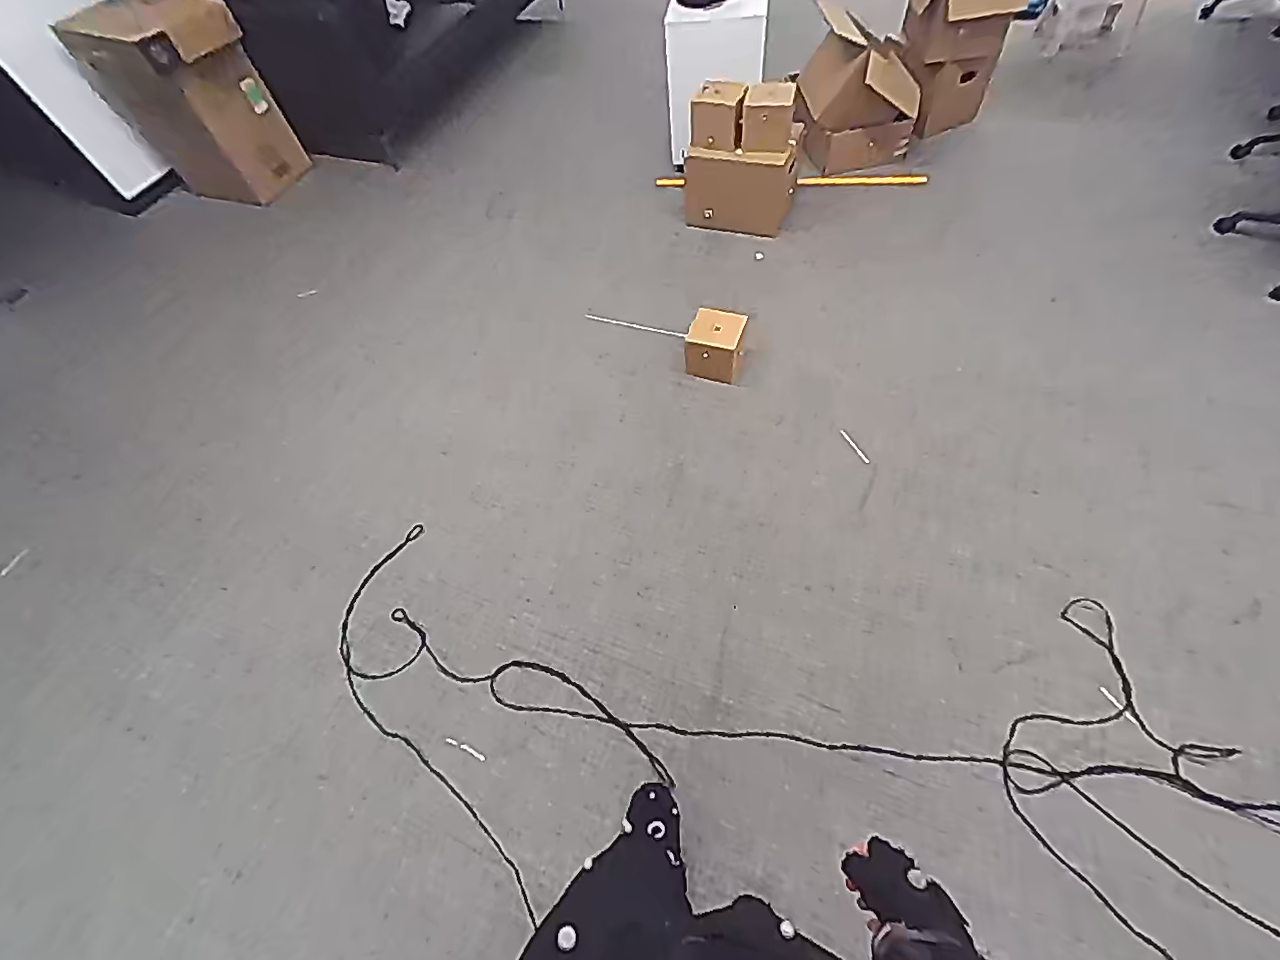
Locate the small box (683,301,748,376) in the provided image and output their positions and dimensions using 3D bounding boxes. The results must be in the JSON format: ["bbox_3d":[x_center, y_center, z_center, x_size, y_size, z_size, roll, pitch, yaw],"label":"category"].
[{"bbox_3d":[0.260,-0.481,1.854,0.179,0.176,0.168,15,62,17],"label":"small box"}]
